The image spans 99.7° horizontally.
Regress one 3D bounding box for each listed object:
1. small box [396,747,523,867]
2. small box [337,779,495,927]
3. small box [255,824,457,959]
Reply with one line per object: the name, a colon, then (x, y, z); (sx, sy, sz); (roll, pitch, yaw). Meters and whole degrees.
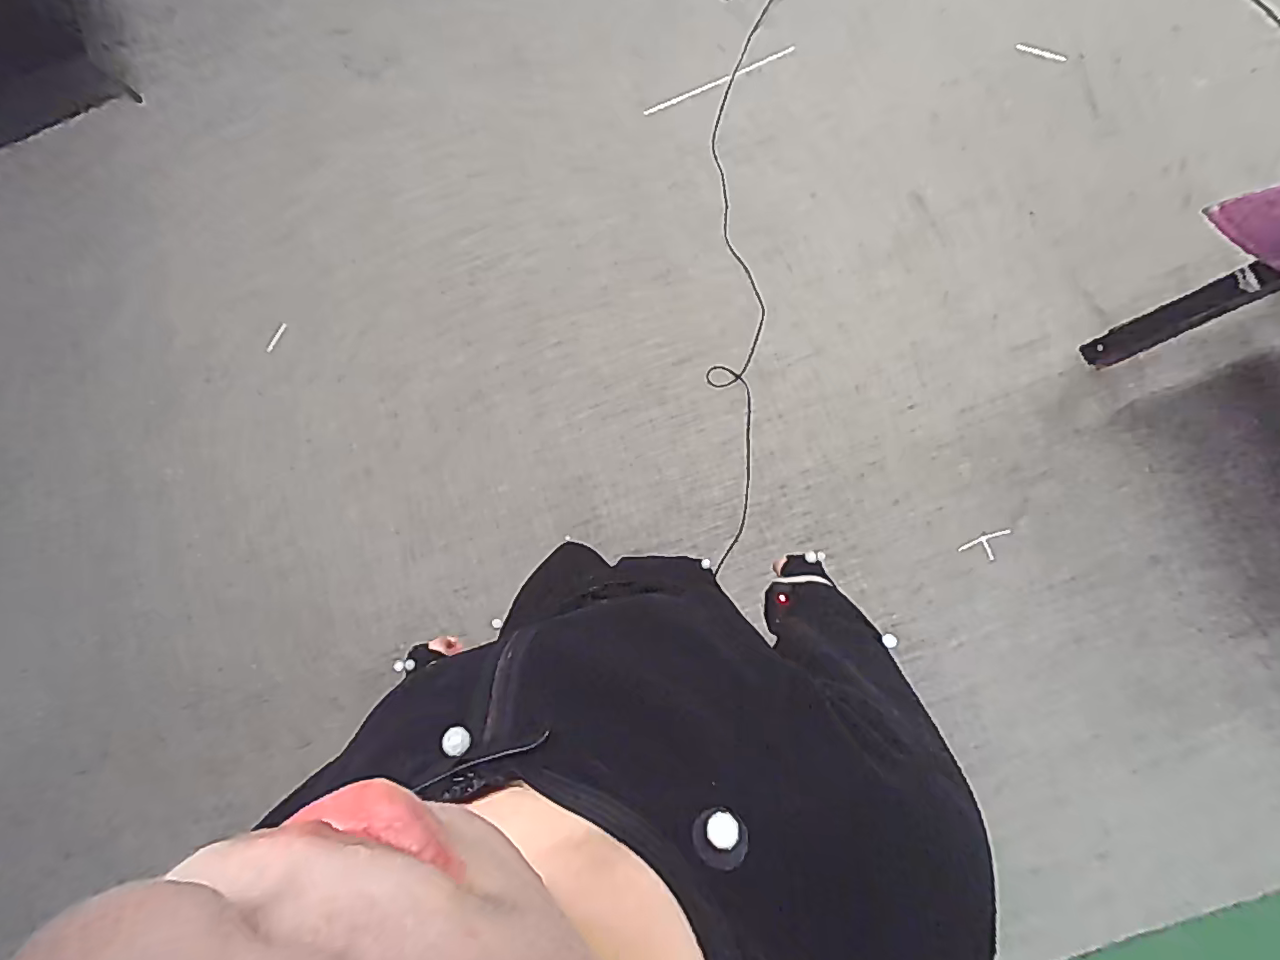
small box: (-0.359, 0.670, 1.101); (0.168, 0.176, 0.179); (-20, 82, 5)
small box: (-0.380, 0.656, 0.940); (0.179, 0.176, 0.168); (-20, 82, 3)
small box: (-0.396, 0.638, 0.777); (0.179, 0.176, 0.168); (-20, 82, 4)
